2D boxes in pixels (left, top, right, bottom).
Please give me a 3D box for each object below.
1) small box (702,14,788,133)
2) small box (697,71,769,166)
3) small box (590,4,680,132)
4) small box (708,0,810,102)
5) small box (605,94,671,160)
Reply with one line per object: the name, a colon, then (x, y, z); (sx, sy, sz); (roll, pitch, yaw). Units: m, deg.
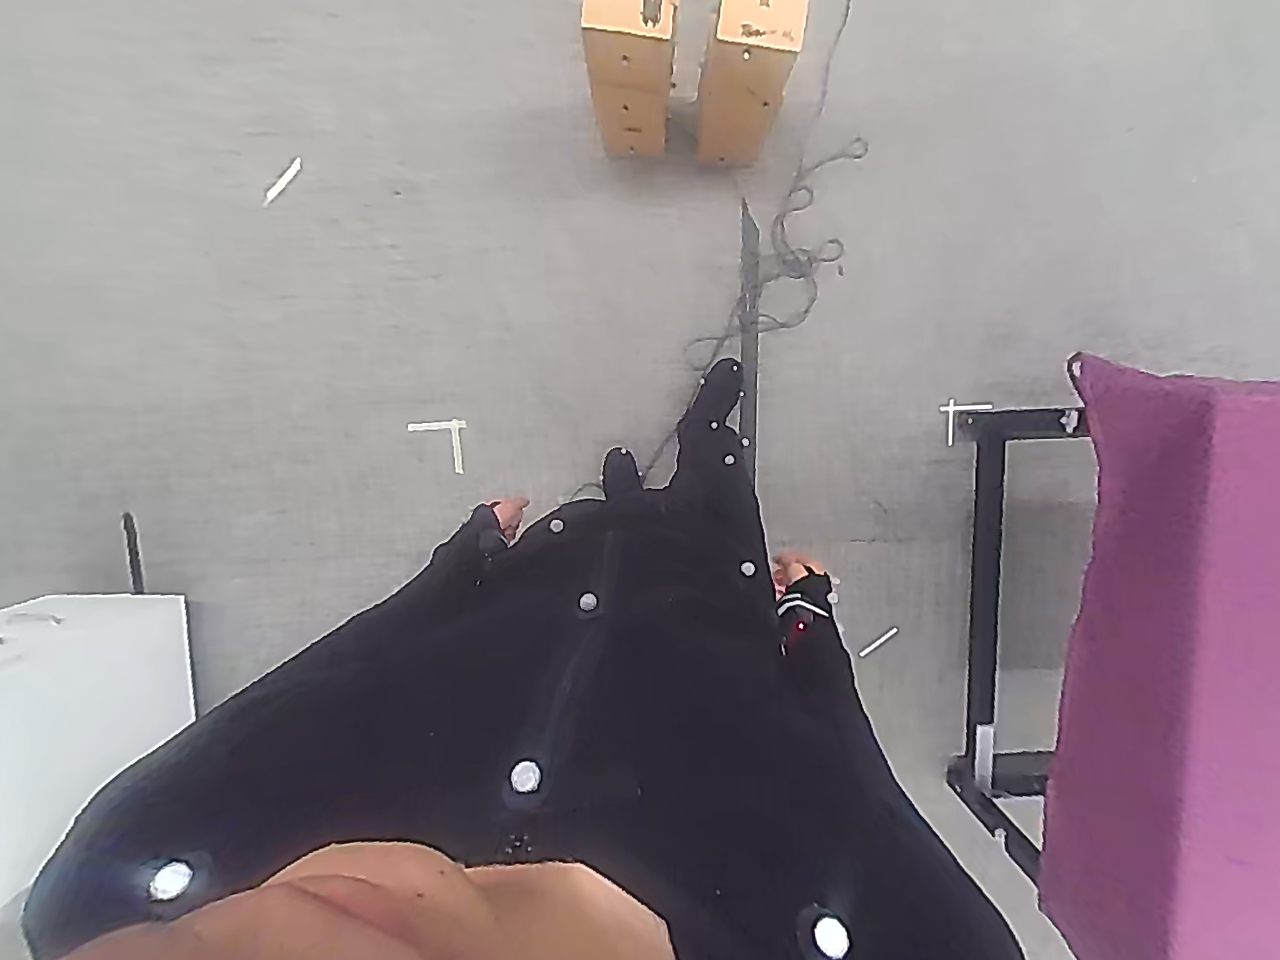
small box: (0.241, -0.938, 1.261); (0.179, 0.176, 0.168); (1, 96, 0)
small box: (0.240, -0.957, 1.422); (0.168, 0.176, 0.179); (0, 97, 0)
small box: (-0.011, -0.943, 1.254); (0.179, 0.176, 0.168); (8, 96, 0)
small box: (0.239, -0.918, 1.098); (0.168, 0.176, 0.179); (8, 95, -1)
small box: (-0.006, -0.977, 1.416); (0.168, 0.176, 0.179); (4, 97, 0)
